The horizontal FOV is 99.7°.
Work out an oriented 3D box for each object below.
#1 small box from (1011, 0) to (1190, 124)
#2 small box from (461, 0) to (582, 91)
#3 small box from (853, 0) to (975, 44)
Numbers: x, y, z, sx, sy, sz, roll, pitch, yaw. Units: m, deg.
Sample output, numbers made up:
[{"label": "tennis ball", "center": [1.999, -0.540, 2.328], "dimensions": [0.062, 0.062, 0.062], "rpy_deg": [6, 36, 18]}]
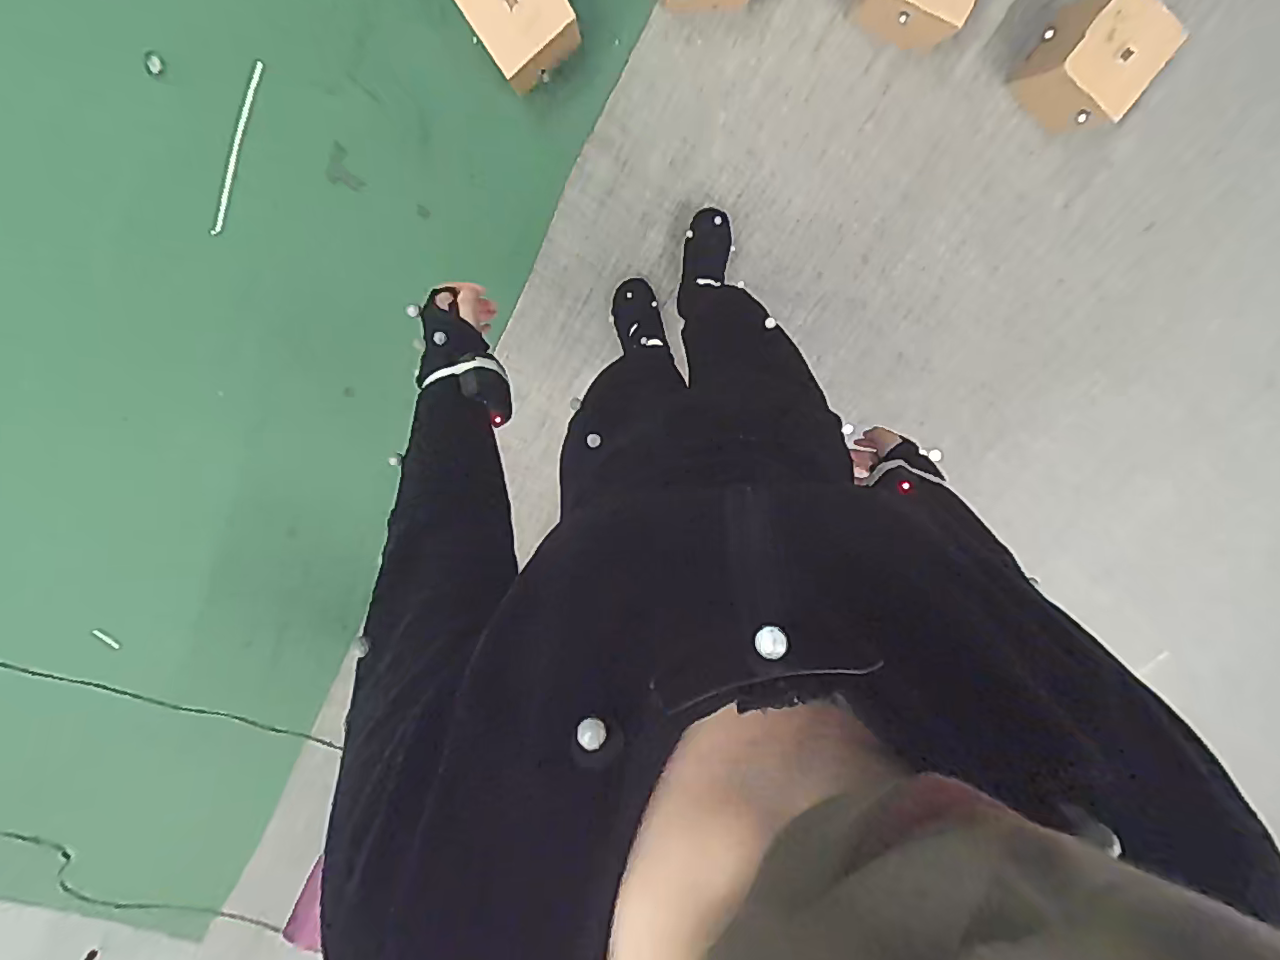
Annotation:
[{"label": "small box", "center": [0.911, -0.850, 1.086], "dimensions": [0.179, 0.176, 0.168], "rpy_deg": [28, 111, -15]}, {"label": "small box", "center": [-0.227, -0.890, 1.028], "dimensions": [0.168, 0.176, 0.179], "rpy_deg": [-33, 113, 13]}, {"label": "small box", "center": [0.536, -0.965, 1.016], "dimensions": [0.179, 0.176, 0.168], "rpy_deg": [16, 114, -10]}]
